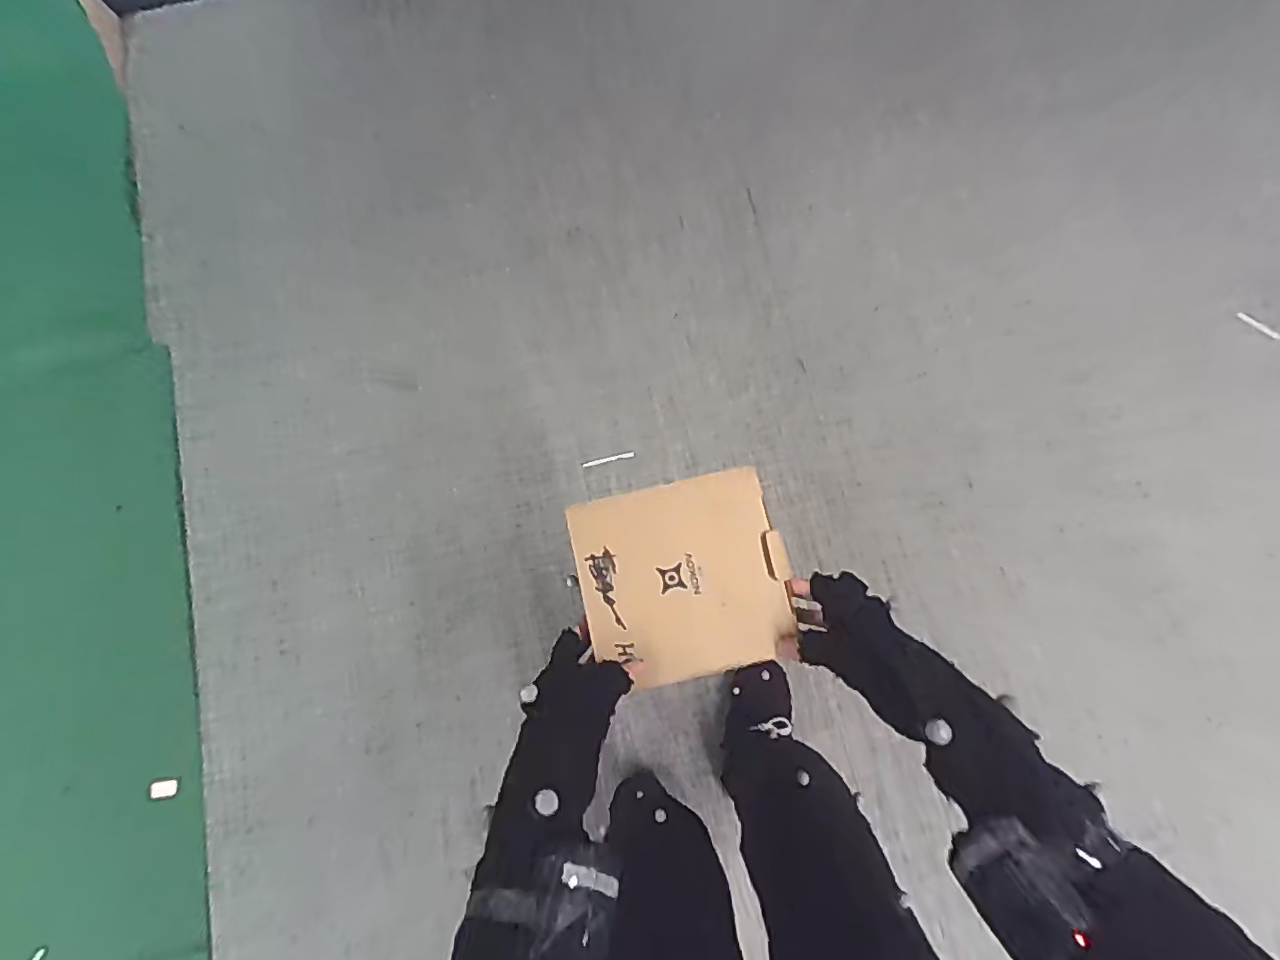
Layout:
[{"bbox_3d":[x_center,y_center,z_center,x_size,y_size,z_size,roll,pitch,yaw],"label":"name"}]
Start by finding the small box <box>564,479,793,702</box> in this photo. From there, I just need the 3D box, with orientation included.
[{"bbox_3d":[0.031,0.107,0.550,0.179,0.176,0.168,-12,79,-2],"label":"small box"}]
